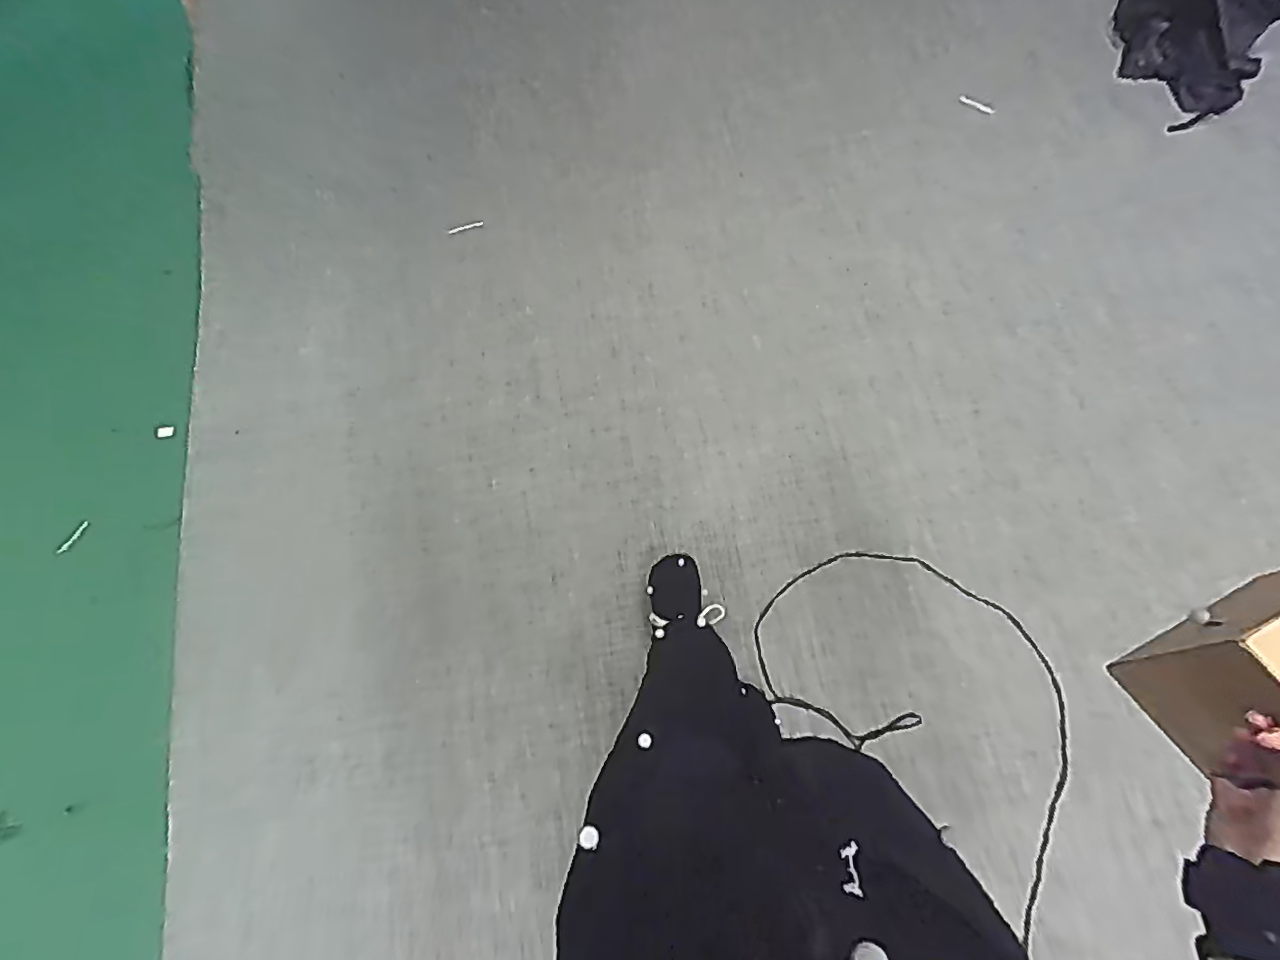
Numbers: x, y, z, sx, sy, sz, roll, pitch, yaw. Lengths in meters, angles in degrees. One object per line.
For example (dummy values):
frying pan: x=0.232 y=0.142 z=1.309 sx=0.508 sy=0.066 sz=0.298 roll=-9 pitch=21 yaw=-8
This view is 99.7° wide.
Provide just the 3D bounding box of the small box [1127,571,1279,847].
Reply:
small box: x=0.527 y=0.163 z=0.401 sx=0.179 sy=0.176 sz=0.168 roll=-29 pitch=62 yaw=-3
